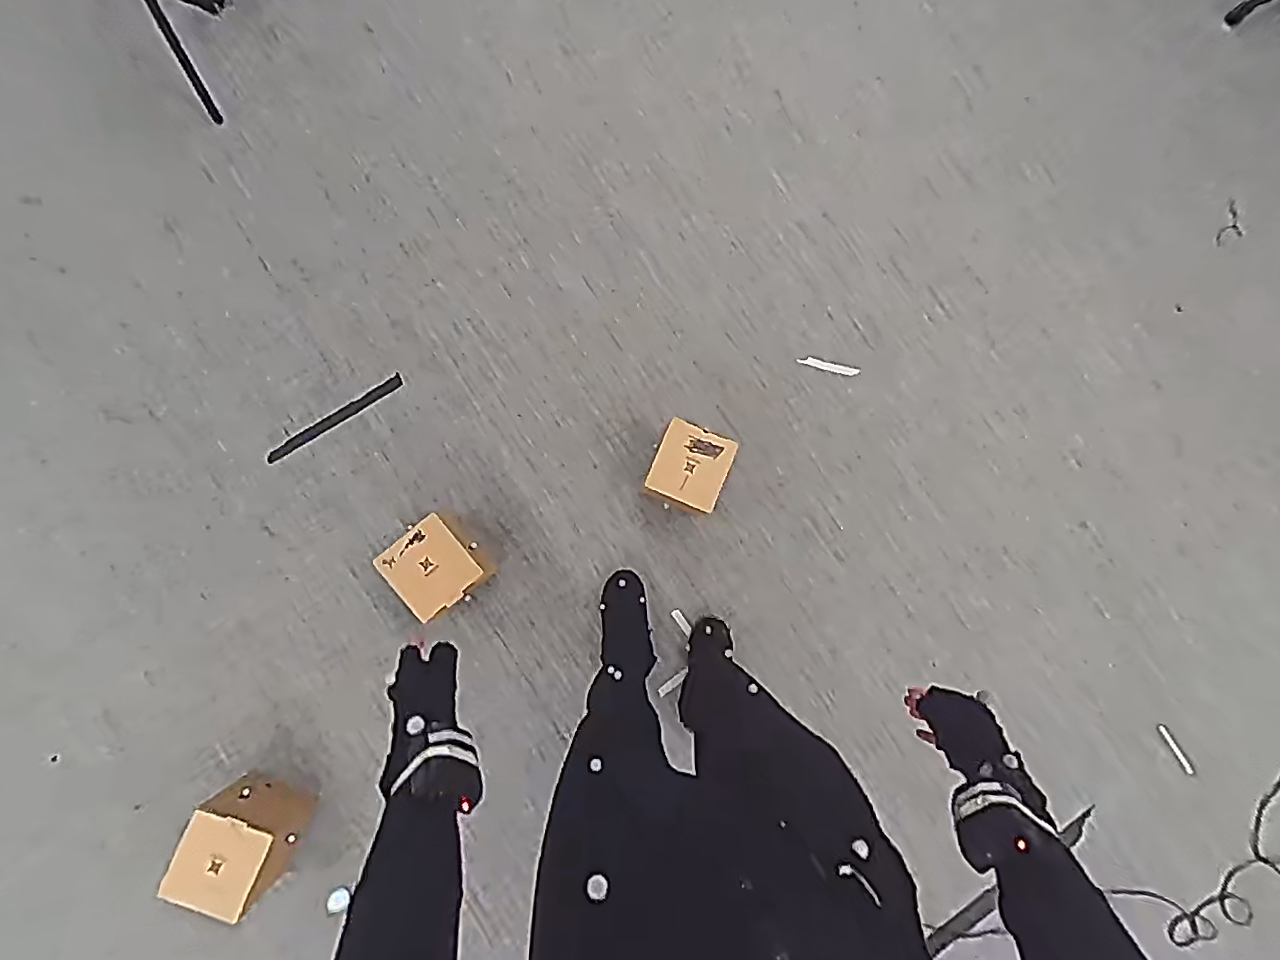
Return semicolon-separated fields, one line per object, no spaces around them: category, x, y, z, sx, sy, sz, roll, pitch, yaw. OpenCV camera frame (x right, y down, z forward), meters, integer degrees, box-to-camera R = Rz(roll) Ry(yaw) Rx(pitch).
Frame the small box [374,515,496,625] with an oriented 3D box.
small box;-0.449;0.195;1.219;0.168;0.176;0.179;-40;89;-8

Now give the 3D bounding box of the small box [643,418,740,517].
small box;0.113;-0.023;1.285;0.168;0.176;0.179;23;84;-1

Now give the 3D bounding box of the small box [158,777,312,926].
small box;-0.828;0.760;1.130;0.168;0.176;0.179;21;83;-1
